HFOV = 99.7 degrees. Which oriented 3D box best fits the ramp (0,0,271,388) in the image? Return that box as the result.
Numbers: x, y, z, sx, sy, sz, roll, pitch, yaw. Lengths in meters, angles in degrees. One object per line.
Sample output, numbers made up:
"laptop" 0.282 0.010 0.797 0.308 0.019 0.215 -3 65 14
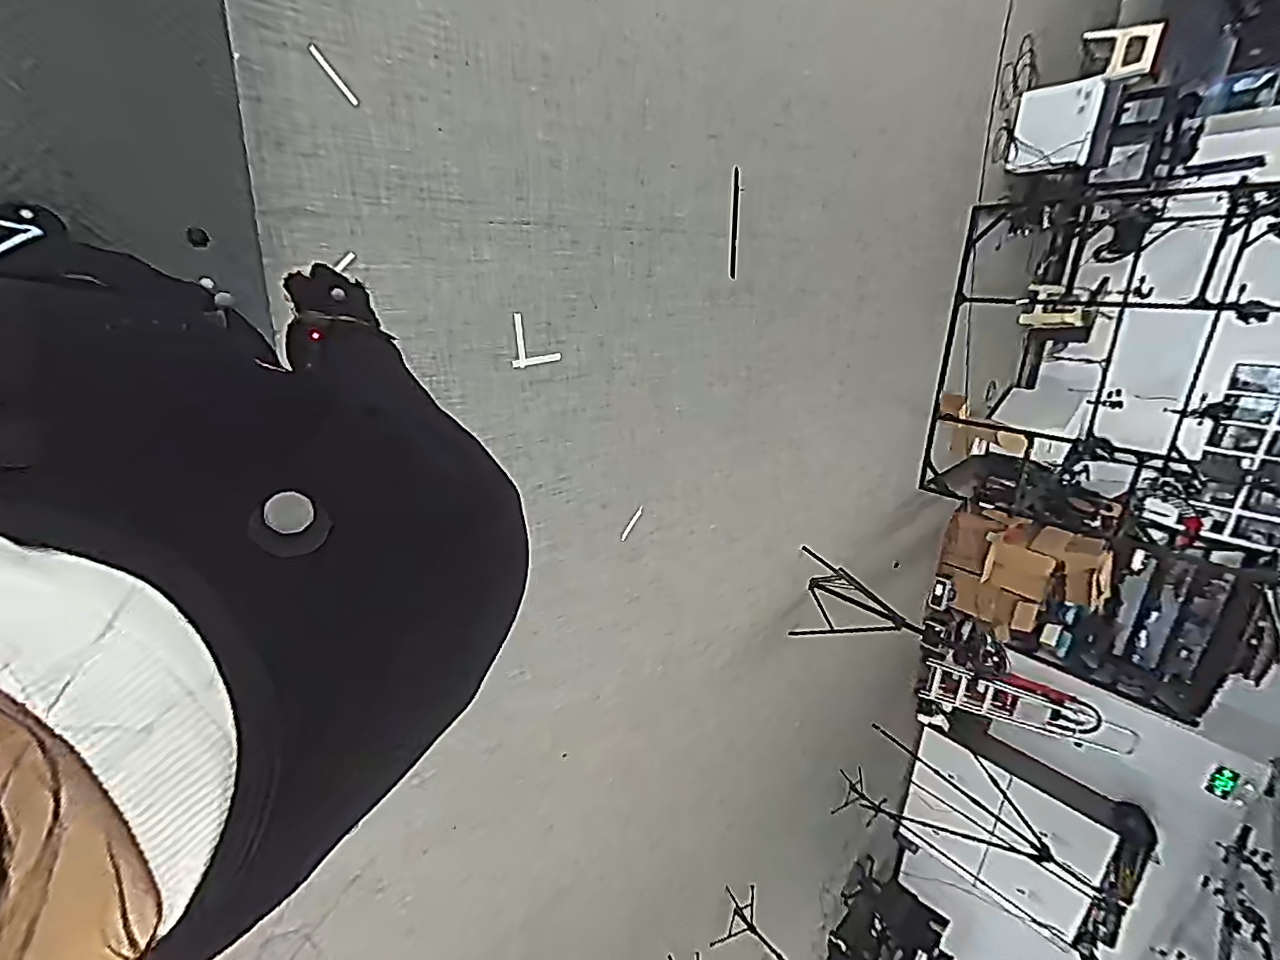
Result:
"ramp" -0.945 -0.638 0.860 0.509 0.206 0.991 -18 118 -40
